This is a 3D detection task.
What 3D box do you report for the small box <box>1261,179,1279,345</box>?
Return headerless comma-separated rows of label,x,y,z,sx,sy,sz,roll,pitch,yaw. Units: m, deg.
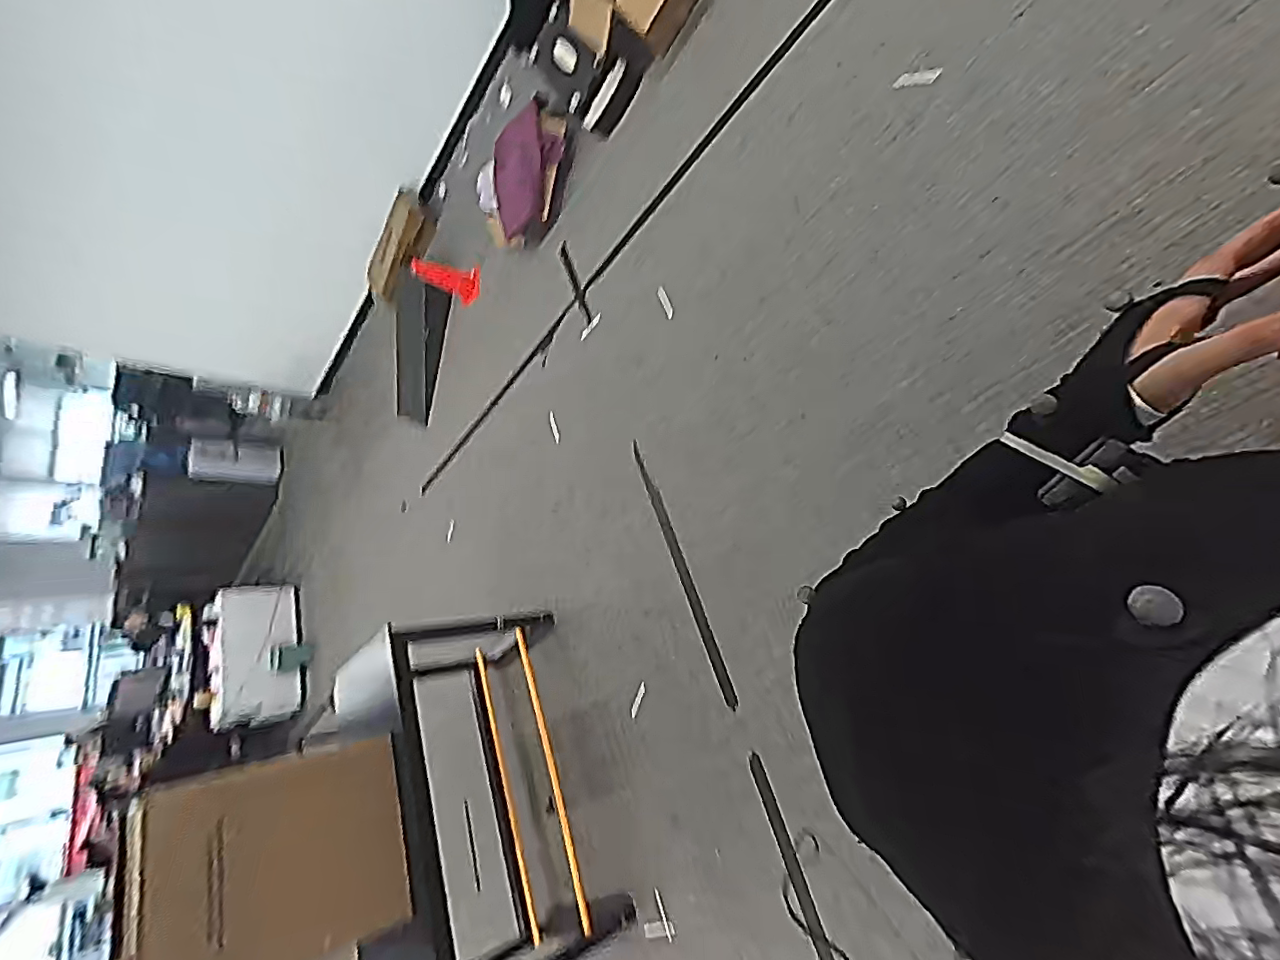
small box,0.467,-0.169,0.289,0.168,0.176,0.179,8,98,49
